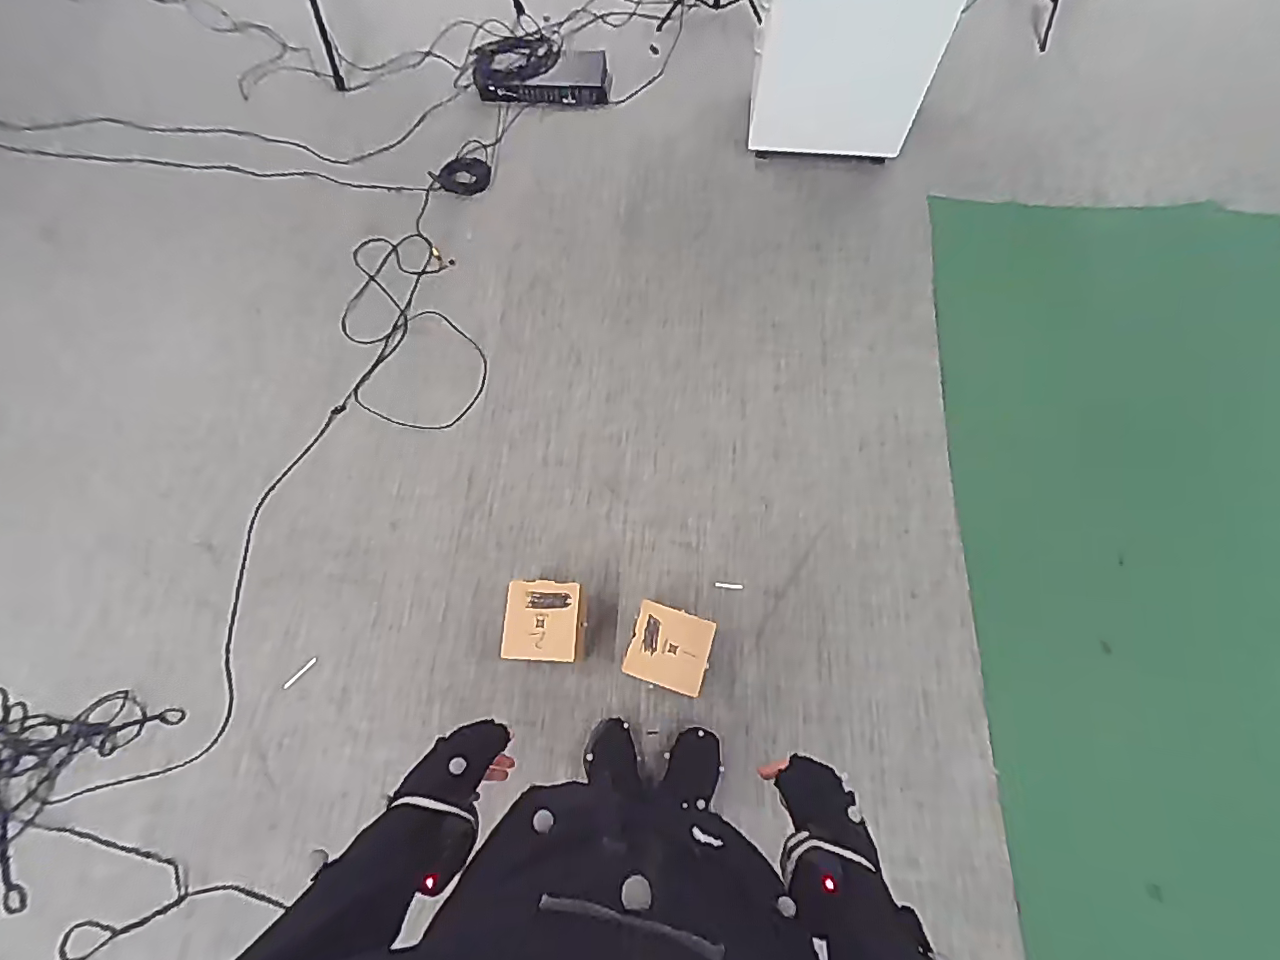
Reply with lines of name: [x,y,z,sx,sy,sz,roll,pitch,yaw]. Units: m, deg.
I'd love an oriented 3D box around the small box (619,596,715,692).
small box: [0.061,0.387,1.267,0.179,0.176,0.168,17,71,6]
